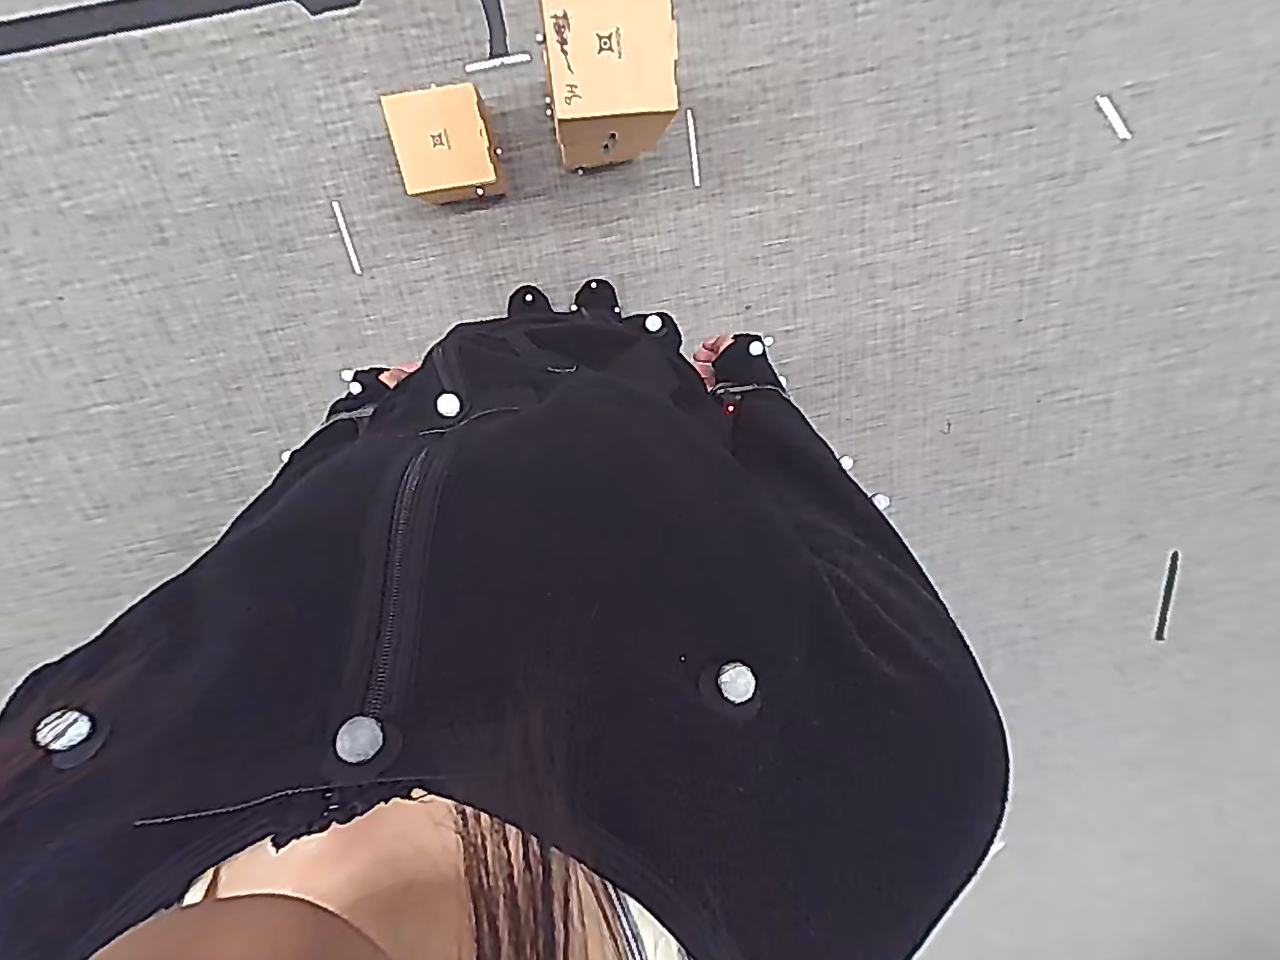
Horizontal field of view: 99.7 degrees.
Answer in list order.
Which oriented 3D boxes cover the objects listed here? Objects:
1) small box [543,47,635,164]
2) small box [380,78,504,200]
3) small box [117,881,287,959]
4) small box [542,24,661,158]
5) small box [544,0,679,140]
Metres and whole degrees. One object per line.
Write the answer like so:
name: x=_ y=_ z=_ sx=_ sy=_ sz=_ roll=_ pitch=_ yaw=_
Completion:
small box: x=-0.094 y=-0.755 z=1.093 sx=0.168 sy=0.176 sz=0.179 roll=-12 pitch=112 yaw=-3
small box: x=-0.387 y=-0.675 z=1.089 sx=0.179 sy=0.176 sz=0.168 roll=-11 pitch=112 yaw=-3
small box: x=-0.684 y=0.762 z=0.832 sx=0.179 sy=0.176 sz=0.168 roll=-12 pitch=112 yaw=-1
small box: x=-0.066 y=-0.679 z=0.948 sx=0.179 sy=0.176 sz=0.168 roll=-10 pitch=113 yaw=-4
small box: x=-0.047 y=-0.616 z=0.798 sx=0.179 sy=0.176 sz=0.168 roll=-7 pitch=112 yaw=-6
